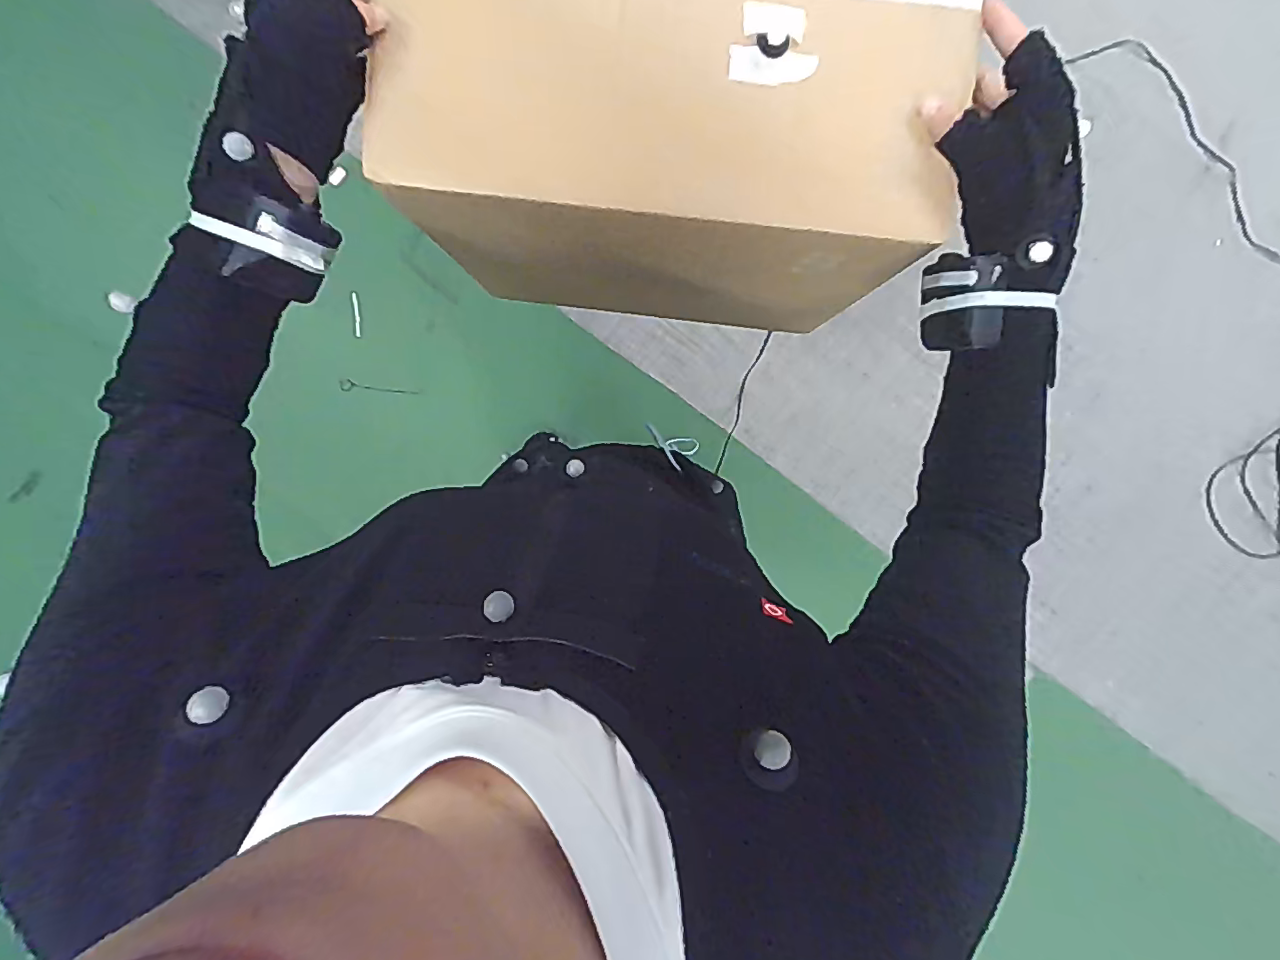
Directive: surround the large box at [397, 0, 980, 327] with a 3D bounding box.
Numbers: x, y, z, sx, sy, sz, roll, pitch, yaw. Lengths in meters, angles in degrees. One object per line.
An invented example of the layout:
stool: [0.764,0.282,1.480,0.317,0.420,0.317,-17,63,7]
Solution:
large box: [0.036,-0.351,0.522,0.408,0.320,0.320,6,94,-1]
